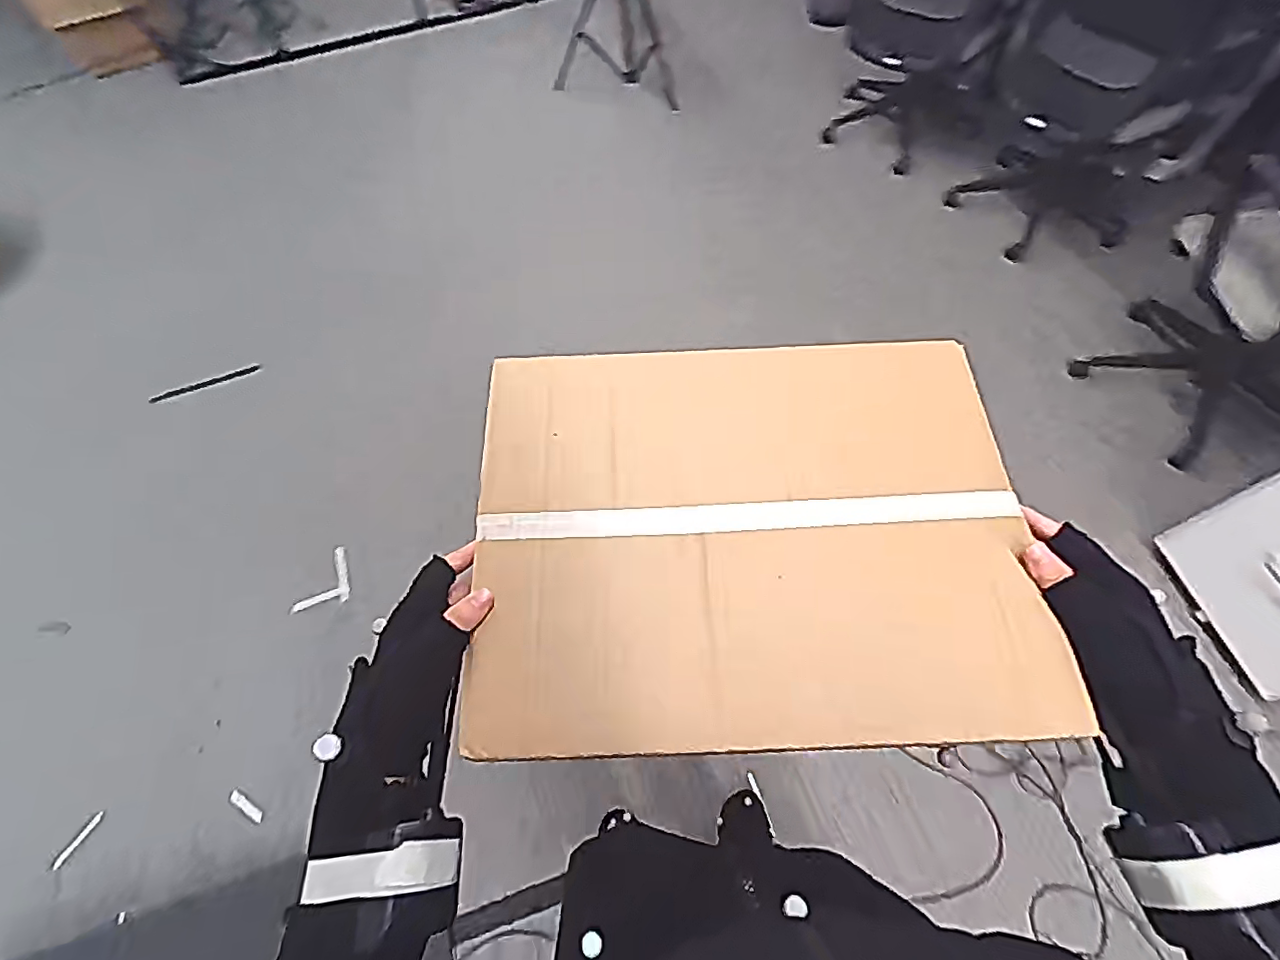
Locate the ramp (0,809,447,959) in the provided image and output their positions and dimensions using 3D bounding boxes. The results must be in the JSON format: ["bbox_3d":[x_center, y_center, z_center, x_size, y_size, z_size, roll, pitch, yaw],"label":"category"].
[{"bbox_3d":[-0.886,1.065,1.016,0.991,0.206,0.509,-19,60,-8],"label":"ramp"}]

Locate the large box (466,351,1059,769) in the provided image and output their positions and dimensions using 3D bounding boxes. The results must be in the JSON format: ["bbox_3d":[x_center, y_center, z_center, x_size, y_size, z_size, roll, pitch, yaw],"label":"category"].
[{"bbox_3d":[0.078,0.097,0.551,0.408,0.320,0.320,-3,64,0],"label":"large box"}]
